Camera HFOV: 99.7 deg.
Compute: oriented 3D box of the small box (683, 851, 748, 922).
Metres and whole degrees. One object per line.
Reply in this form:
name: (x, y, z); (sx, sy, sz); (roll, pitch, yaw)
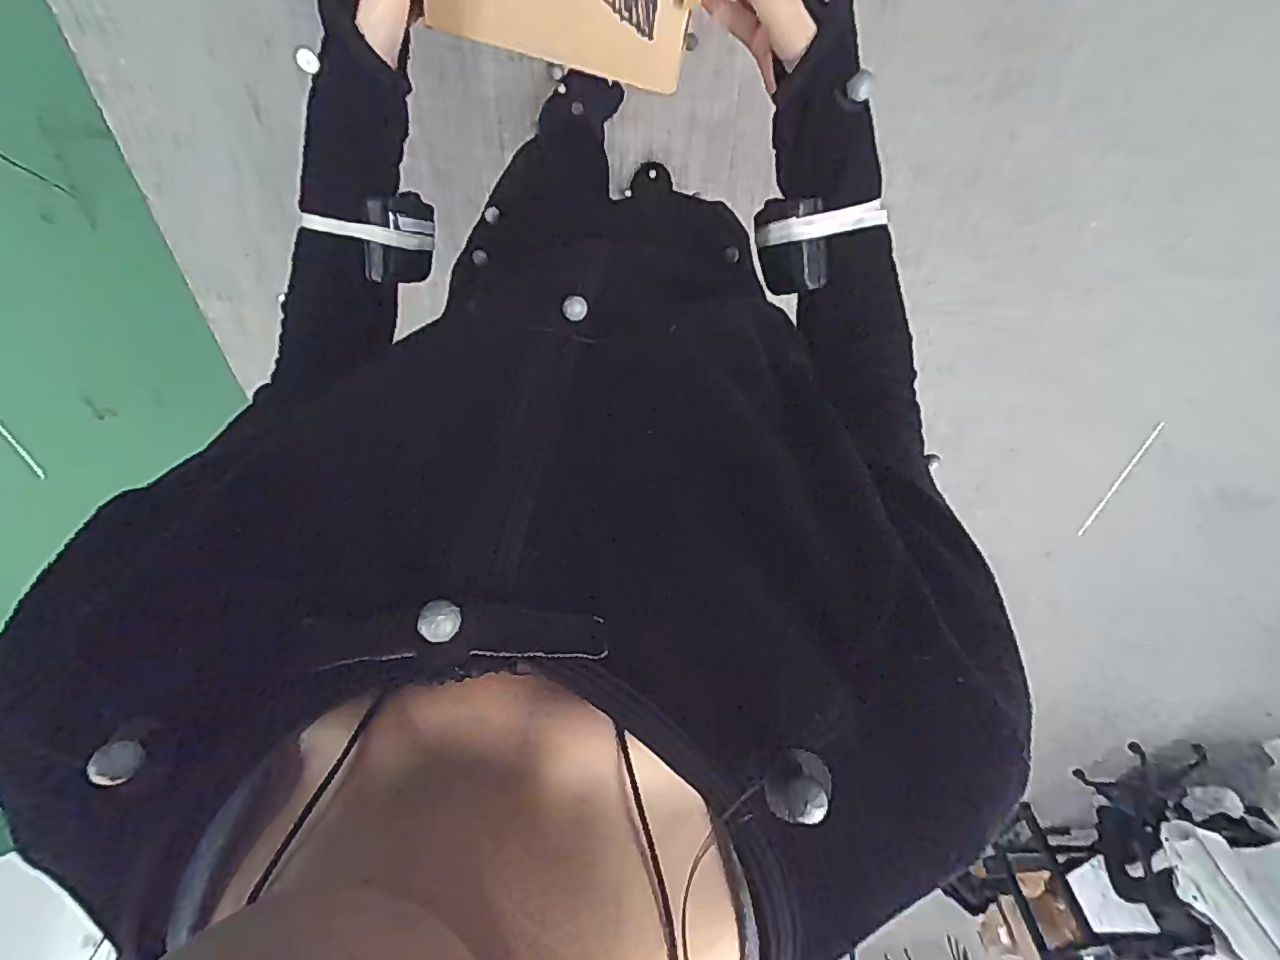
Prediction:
small box: (0.259, 1.428, 1.902); (0.179, 0.176, 0.168); (10, 128, -8)
